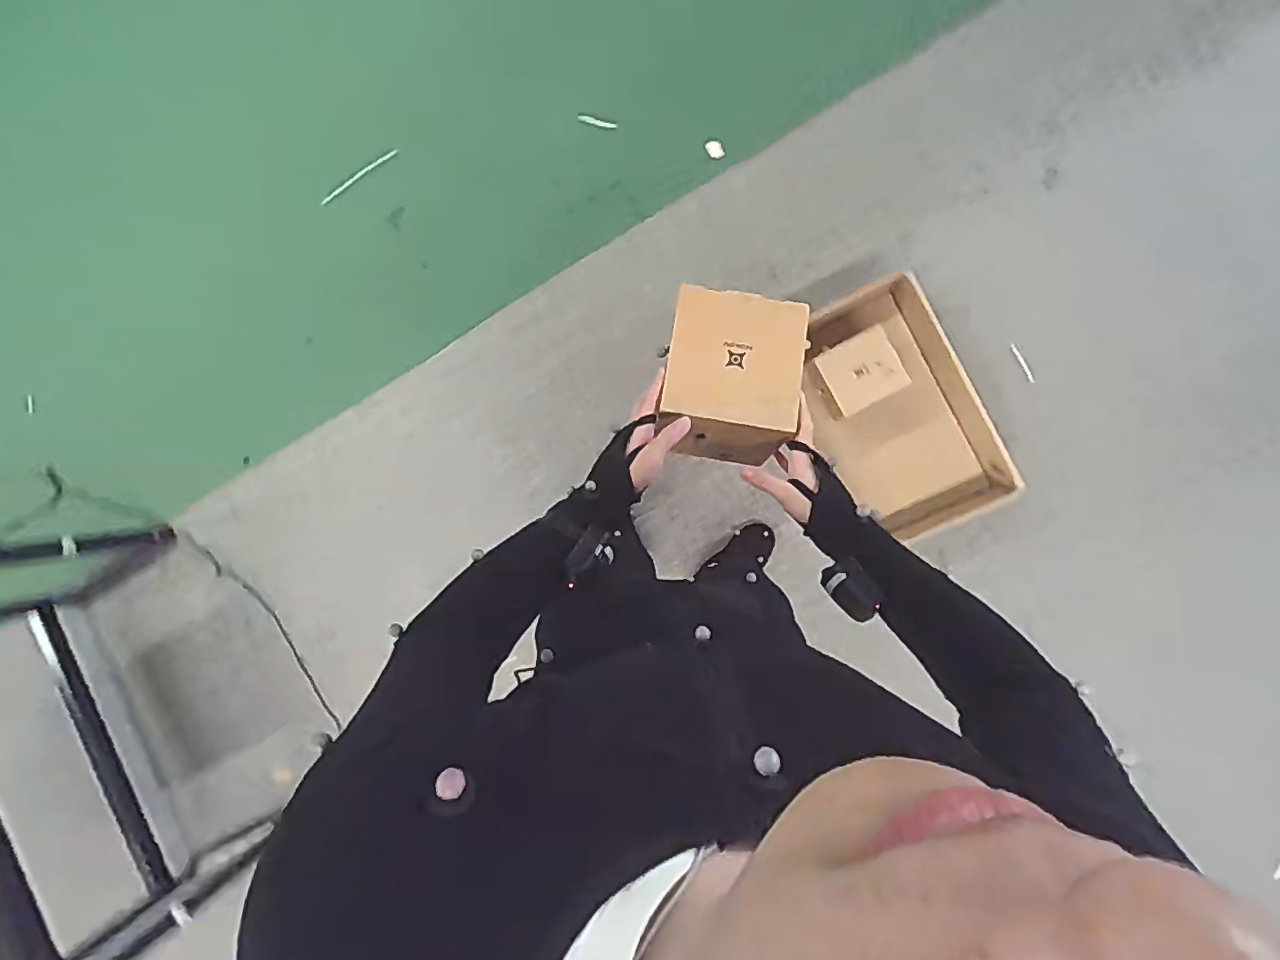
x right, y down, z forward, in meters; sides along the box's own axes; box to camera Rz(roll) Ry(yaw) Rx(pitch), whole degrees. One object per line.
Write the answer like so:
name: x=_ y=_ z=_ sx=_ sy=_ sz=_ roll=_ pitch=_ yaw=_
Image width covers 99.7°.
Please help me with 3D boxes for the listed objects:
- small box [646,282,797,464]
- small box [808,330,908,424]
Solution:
small box: x=0.099 y=-0.131 z=0.722 sx=0.168 sy=0.176 sz=0.179 roll=8 pitch=75 yaw=0
small box: x=0.546 y=-0.255 z=1.385 sx=0.179 sy=0.176 sz=0.168 roll=-27 pitch=87 yaw=10
